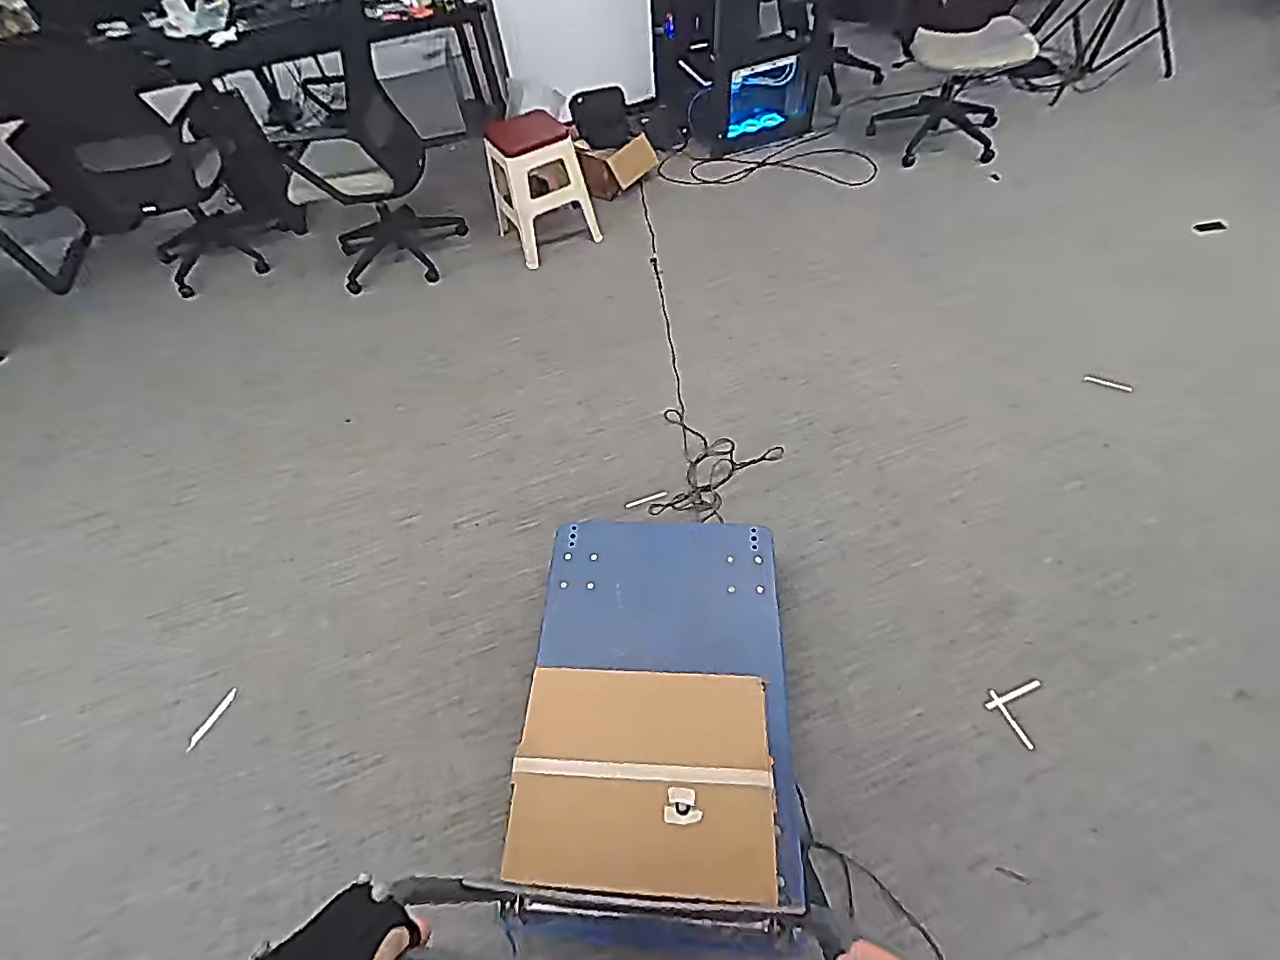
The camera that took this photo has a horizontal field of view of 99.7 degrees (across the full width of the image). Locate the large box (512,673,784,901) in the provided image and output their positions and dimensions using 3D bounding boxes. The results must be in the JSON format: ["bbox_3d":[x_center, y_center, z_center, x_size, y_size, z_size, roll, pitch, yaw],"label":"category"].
[{"bbox_3d":[0.021,0.556,0.983,0.408,0.320,0.320,0,55,5],"label":"large box"}]
